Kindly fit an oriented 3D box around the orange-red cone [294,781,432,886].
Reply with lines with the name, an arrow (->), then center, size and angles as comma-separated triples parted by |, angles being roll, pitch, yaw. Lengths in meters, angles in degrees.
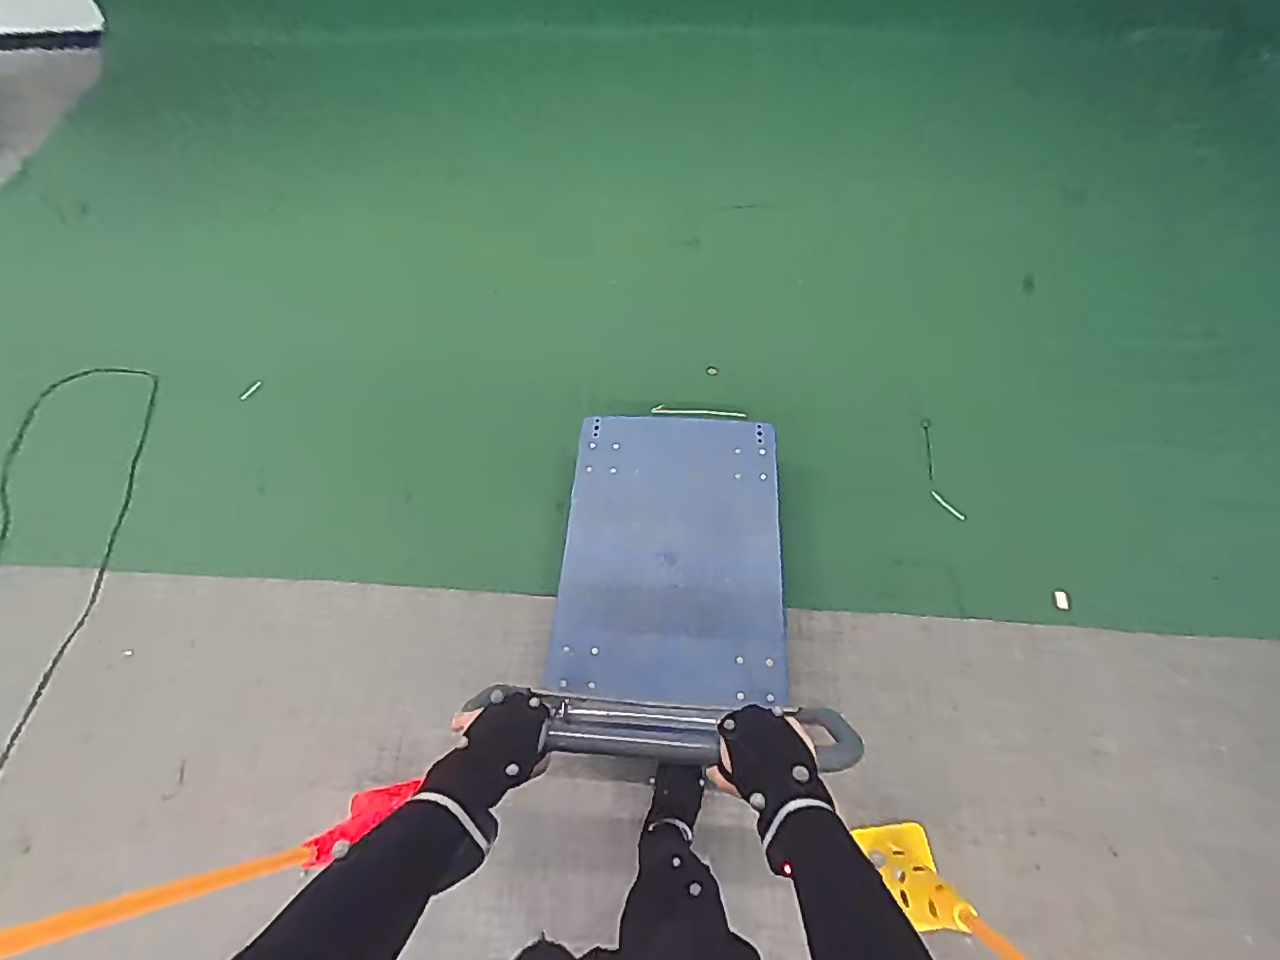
orange-red cone -> -0.618, 0.778, 1.163 | 0.199, 0.360, 0.198 | -11, 62, -1
